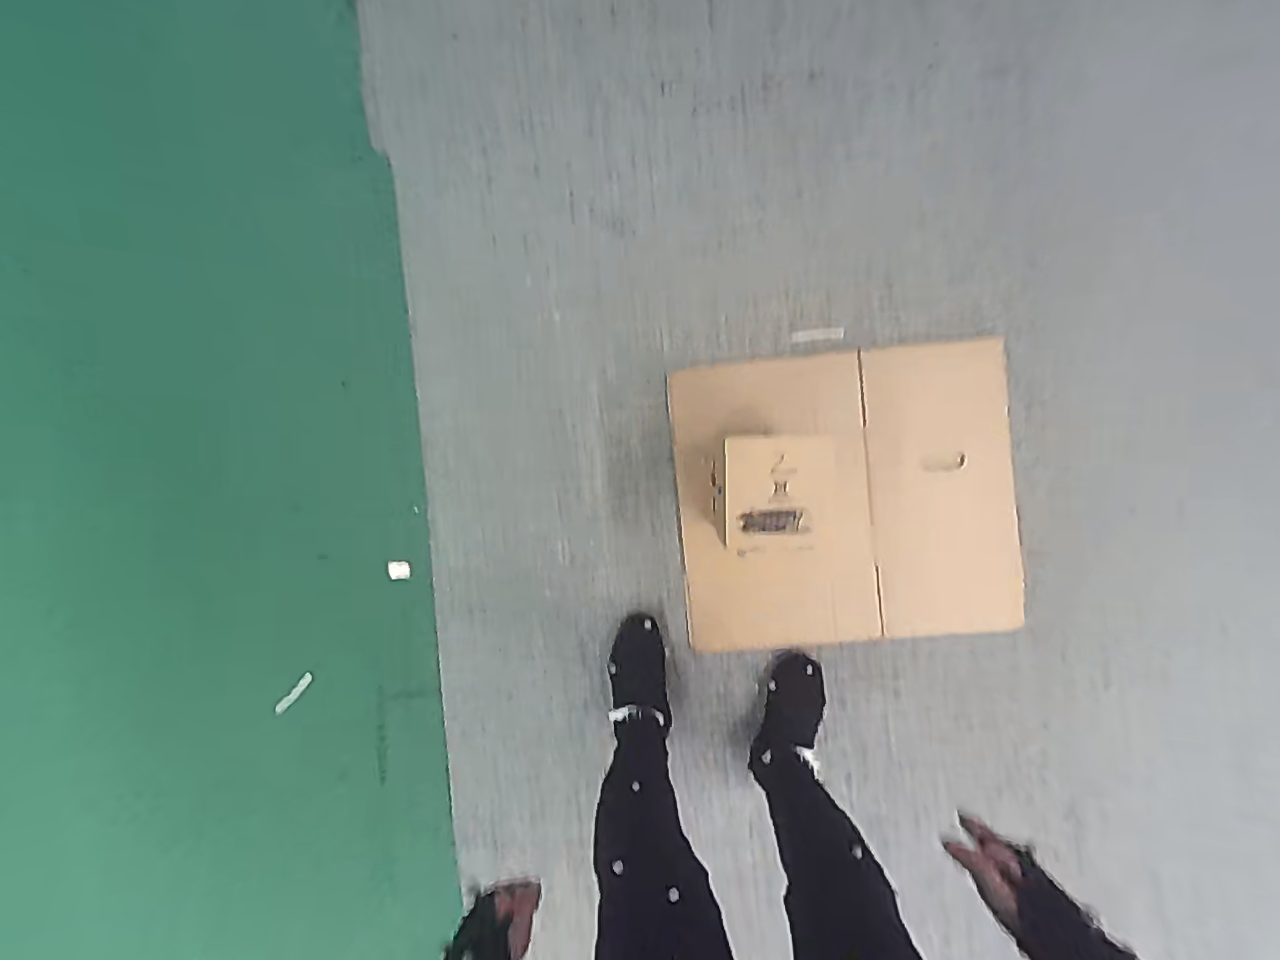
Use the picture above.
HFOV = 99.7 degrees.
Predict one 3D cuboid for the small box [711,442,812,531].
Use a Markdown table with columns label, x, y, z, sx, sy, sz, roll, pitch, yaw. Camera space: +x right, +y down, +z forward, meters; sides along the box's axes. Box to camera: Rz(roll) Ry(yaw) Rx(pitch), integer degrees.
| label | x | y | z | sx | sy | sz | roll | pitch | yaw |
| --- | --- | --- | --- | --- | --- | --- | --- | --- | --- |
| small box | 0.231 | 0.011 | 1.067 | 0.179 | 0.176 | 0.168 | -1 | 92 | 3 |
